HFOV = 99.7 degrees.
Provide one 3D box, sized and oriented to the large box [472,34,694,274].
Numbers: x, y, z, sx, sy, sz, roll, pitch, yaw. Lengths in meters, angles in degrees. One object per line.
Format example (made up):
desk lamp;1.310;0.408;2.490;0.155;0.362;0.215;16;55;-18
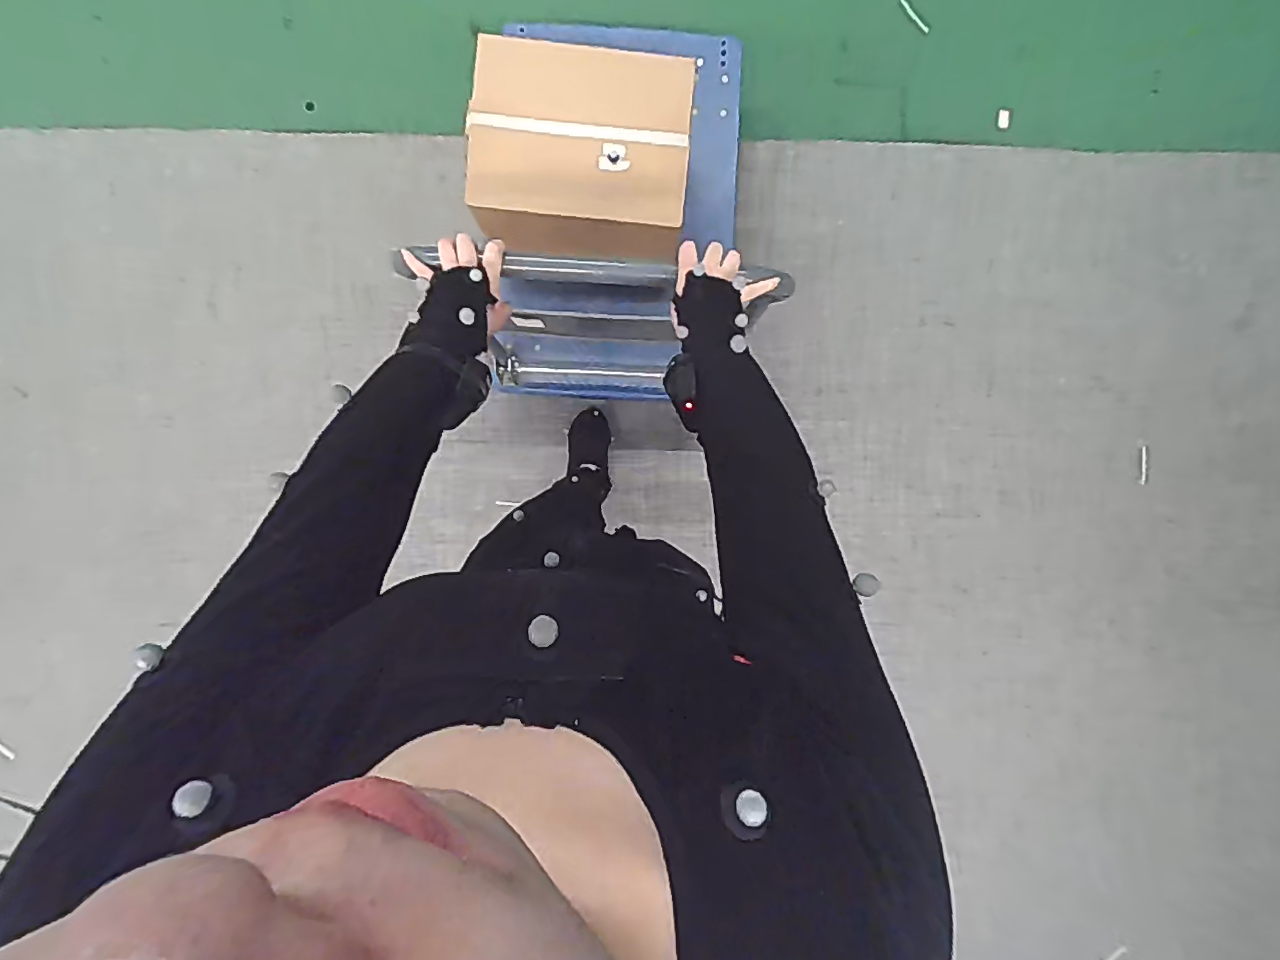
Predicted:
large box;-0.115;-0.662;1.158;0.408;0.320;0.320;5;92;-3
